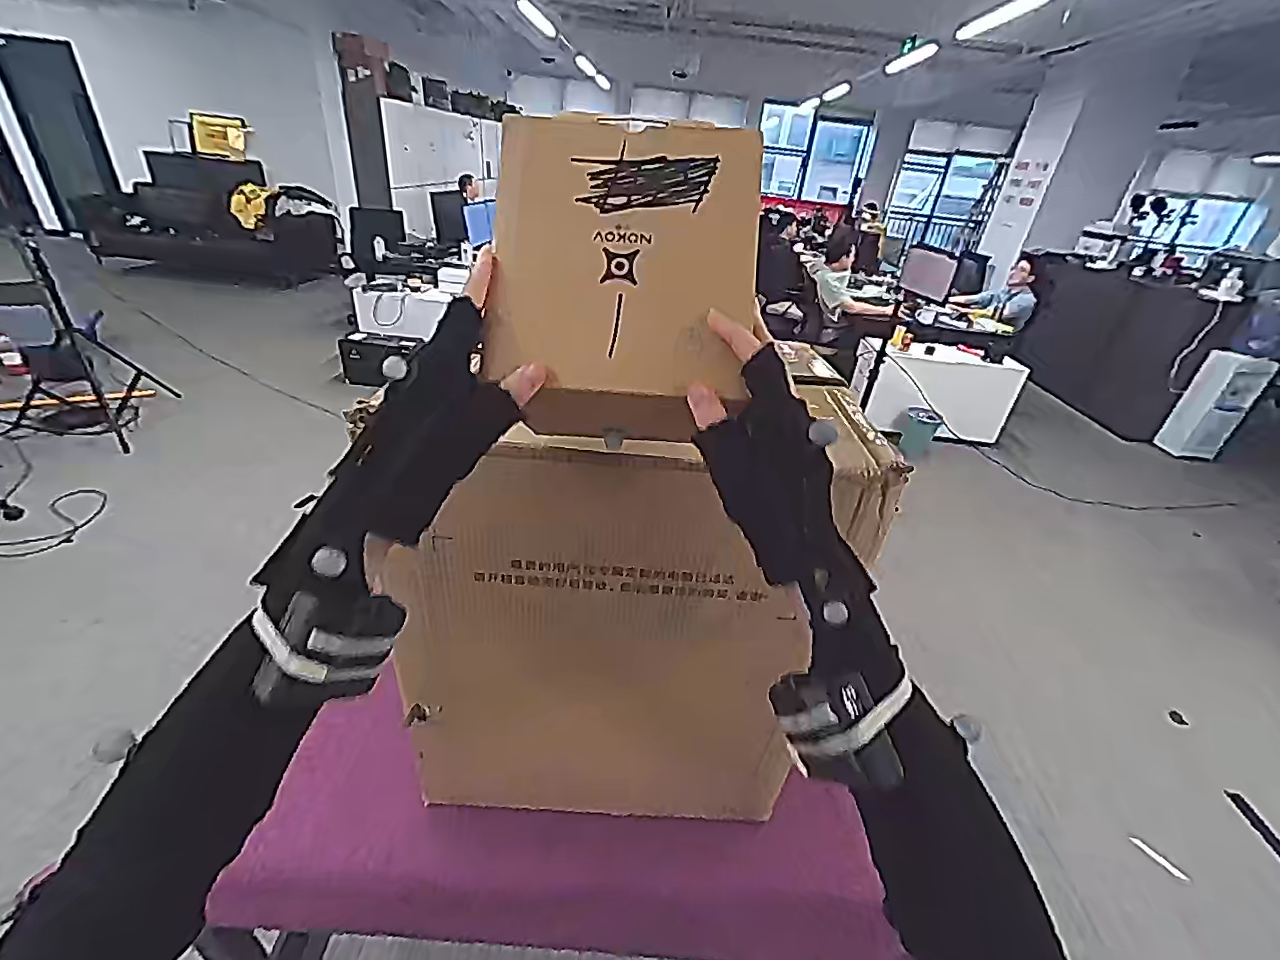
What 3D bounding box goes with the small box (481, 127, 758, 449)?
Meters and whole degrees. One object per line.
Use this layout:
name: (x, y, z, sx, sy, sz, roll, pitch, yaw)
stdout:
small box: (-0.010, -0.129, 0.418, 0.168, 0.179, 0.176, 3, -6, 2)
